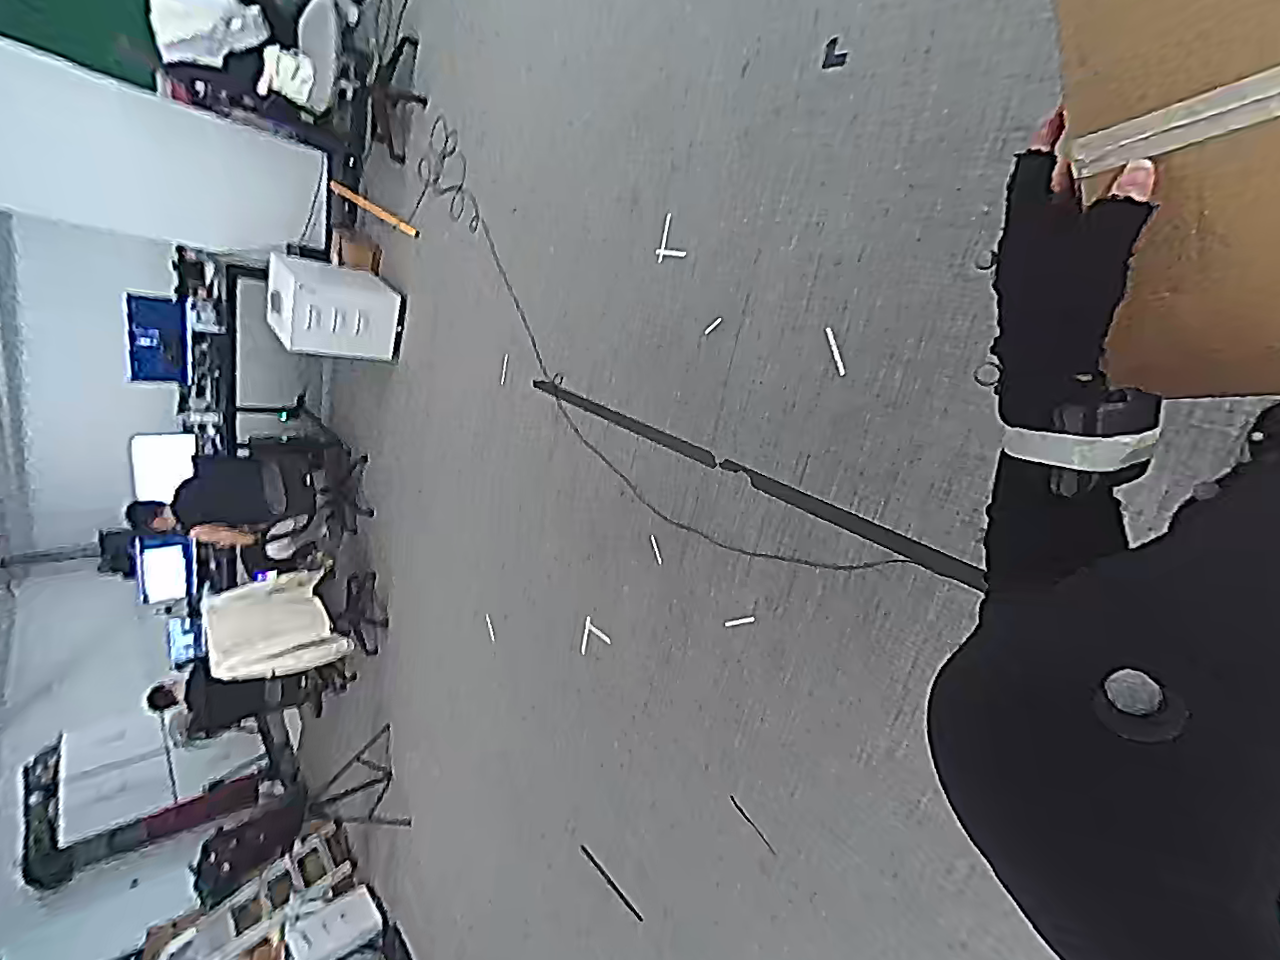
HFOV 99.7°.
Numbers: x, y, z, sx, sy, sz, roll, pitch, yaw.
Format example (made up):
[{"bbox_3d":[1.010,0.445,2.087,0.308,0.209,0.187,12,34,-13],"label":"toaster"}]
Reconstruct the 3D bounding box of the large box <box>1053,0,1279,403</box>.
[{"bbox_3d":[0.478,-0.251,0.235,0.408,0.320,0.320,5,127,53],"label":"large box"}]
